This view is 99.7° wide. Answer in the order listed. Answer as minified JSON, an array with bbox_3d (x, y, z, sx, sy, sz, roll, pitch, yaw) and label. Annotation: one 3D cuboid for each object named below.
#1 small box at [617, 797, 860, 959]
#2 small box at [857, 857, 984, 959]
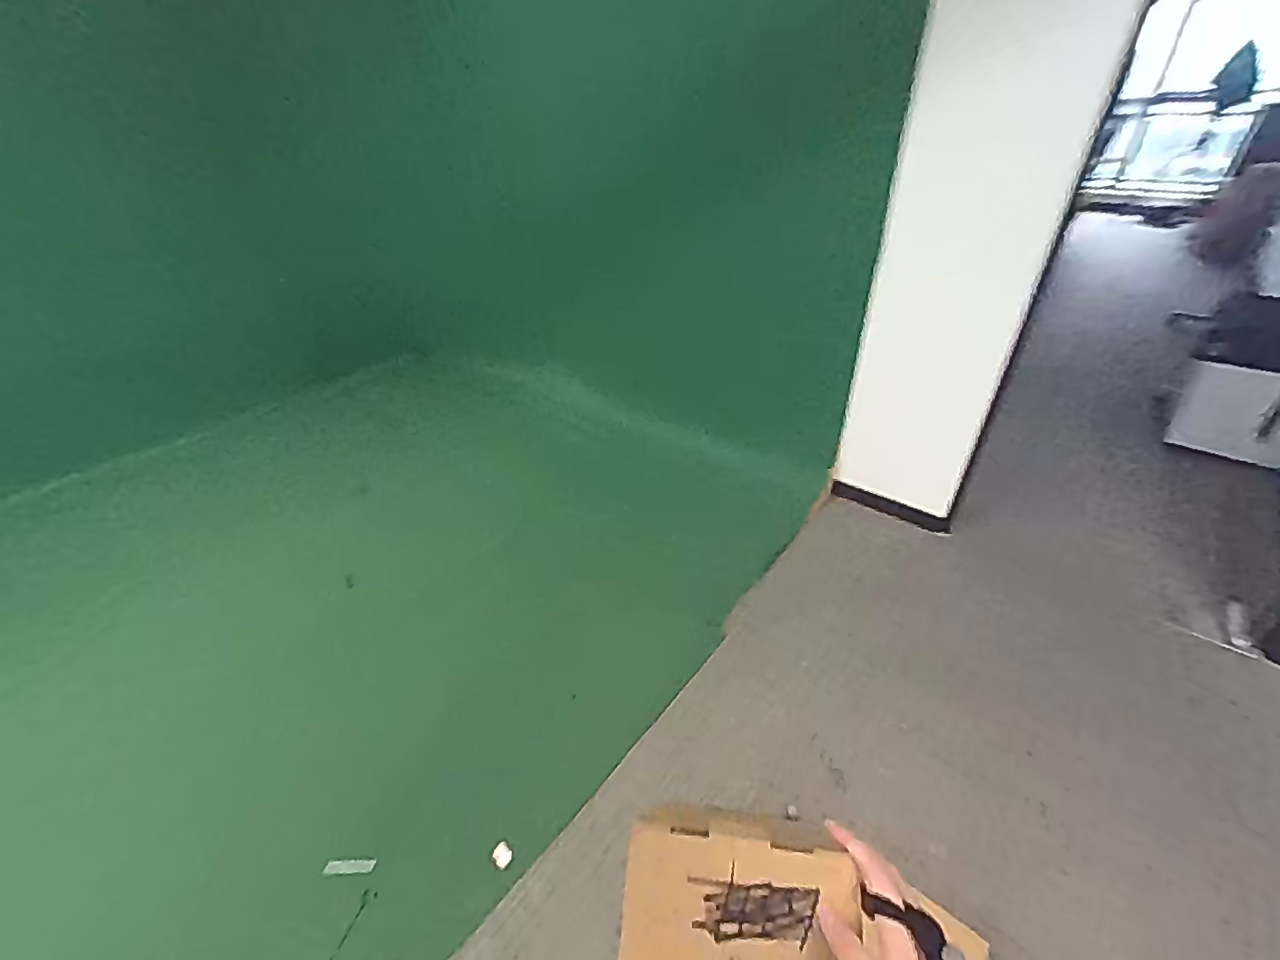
[{"bbox_3d":[0.074,0.370,0.435,0.168,0.176,0.179,1,67,10],"label":"small box"},{"bbox_3d":[0.413,0.770,0.865,0.168,0.176,0.179,25,42,34],"label":"small box"}]
